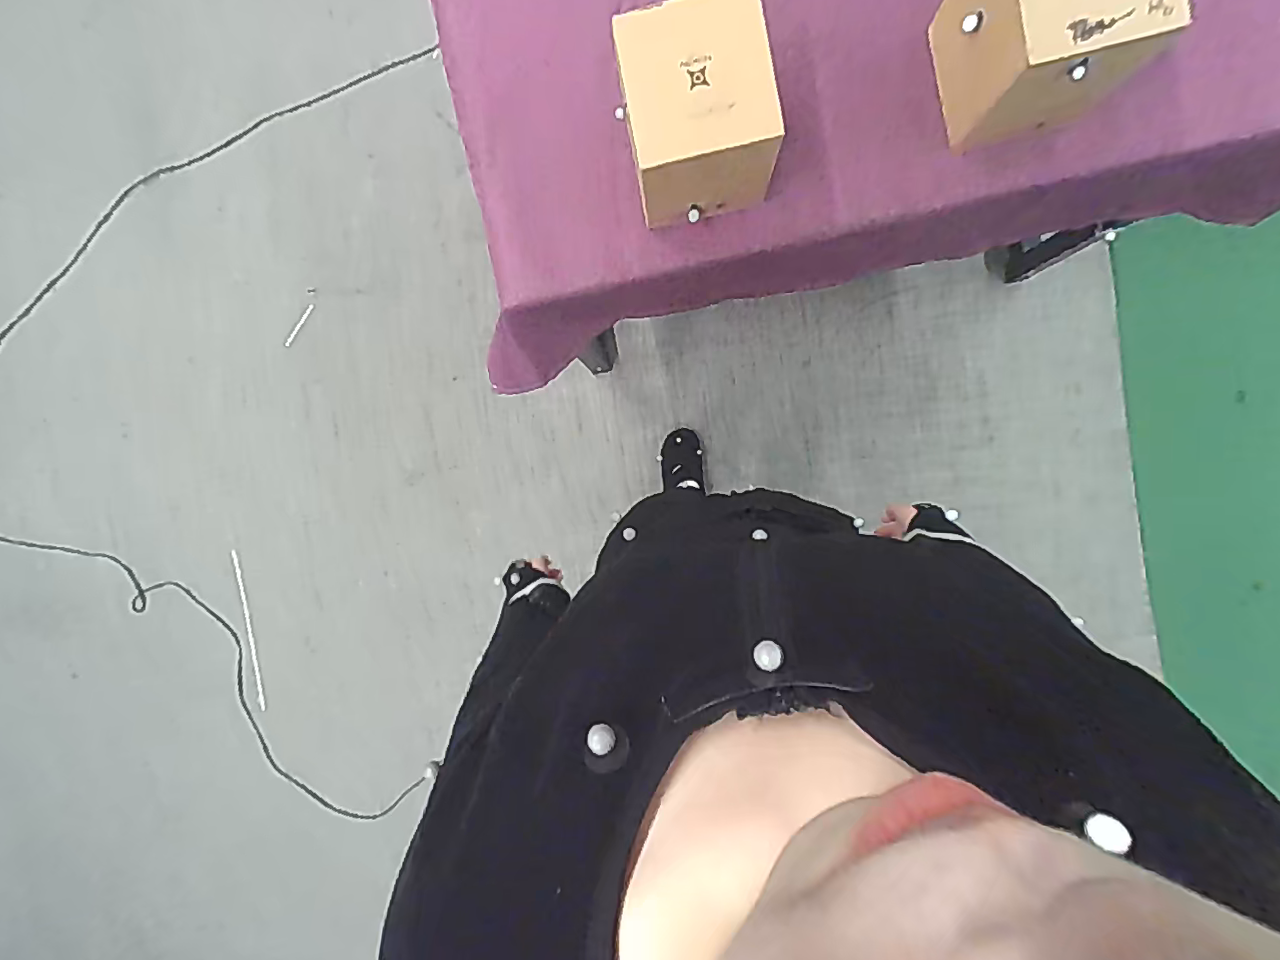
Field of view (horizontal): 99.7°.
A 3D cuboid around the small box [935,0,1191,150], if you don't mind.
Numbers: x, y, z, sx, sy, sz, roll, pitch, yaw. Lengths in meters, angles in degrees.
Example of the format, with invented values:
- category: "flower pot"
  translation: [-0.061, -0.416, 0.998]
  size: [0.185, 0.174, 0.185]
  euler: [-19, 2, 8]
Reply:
- category: "small box"
  translation: [0.479, -0.541, 0.643]
  size: [0.168, 0.176, 0.179]
  euler: [-11, 91, 6]

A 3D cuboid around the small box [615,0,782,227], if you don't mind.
- category: "small box"
  translation: [0.070, -0.452, 0.680]
  size: [0.168, 0.176, 0.179]
  euler: [-10, 92, 5]
